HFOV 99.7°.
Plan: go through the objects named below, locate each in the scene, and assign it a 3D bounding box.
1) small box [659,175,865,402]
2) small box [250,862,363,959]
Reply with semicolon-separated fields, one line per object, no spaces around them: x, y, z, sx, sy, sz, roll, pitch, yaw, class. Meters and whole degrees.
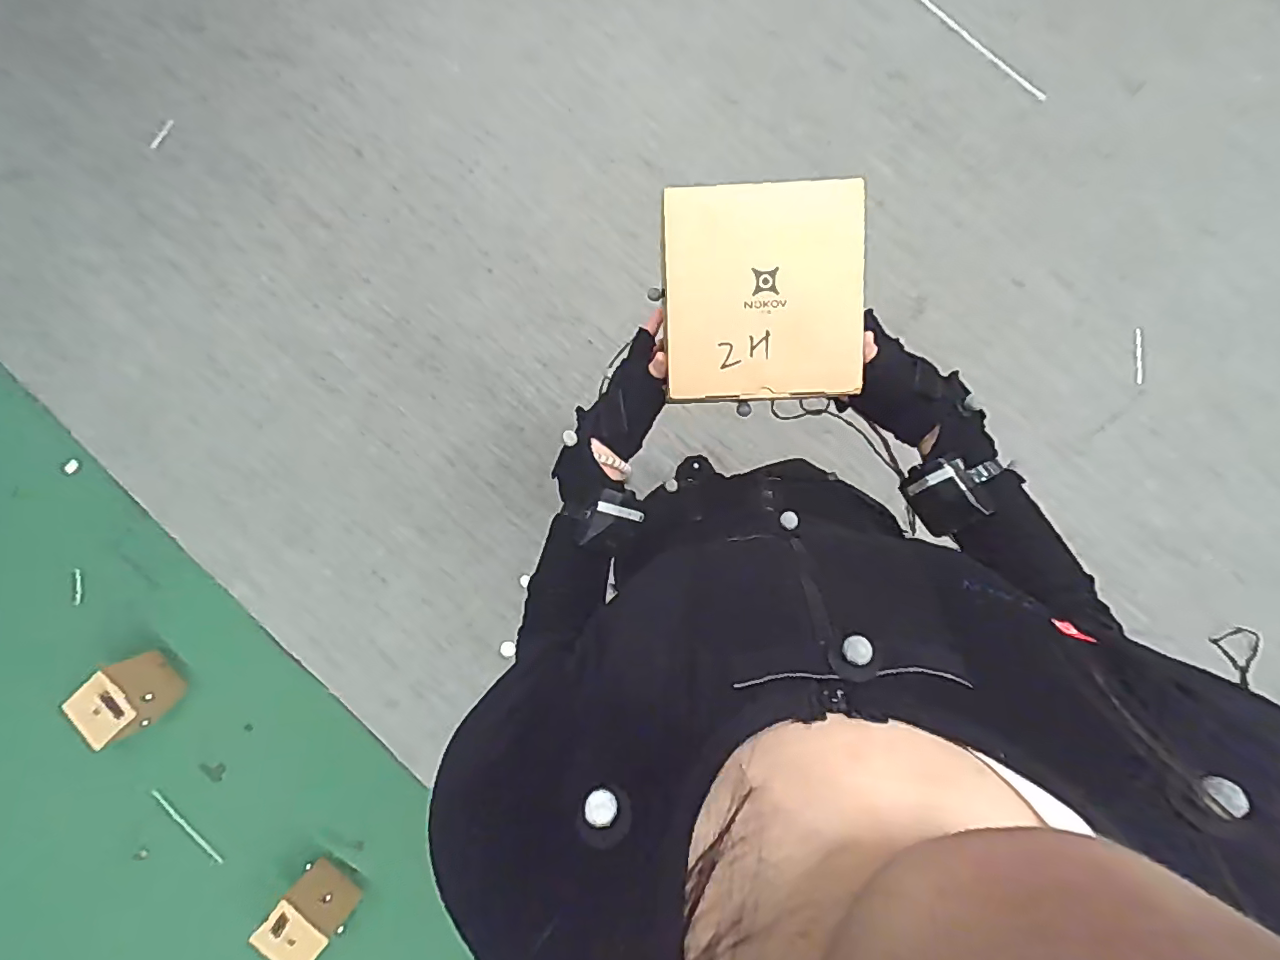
0.103;-0.168;0.525;0.168;0.176;0.179;-1;97;2;small box
-0.949;1.248;1.550;0.179;0.176;0.168;40;95;1;small box
